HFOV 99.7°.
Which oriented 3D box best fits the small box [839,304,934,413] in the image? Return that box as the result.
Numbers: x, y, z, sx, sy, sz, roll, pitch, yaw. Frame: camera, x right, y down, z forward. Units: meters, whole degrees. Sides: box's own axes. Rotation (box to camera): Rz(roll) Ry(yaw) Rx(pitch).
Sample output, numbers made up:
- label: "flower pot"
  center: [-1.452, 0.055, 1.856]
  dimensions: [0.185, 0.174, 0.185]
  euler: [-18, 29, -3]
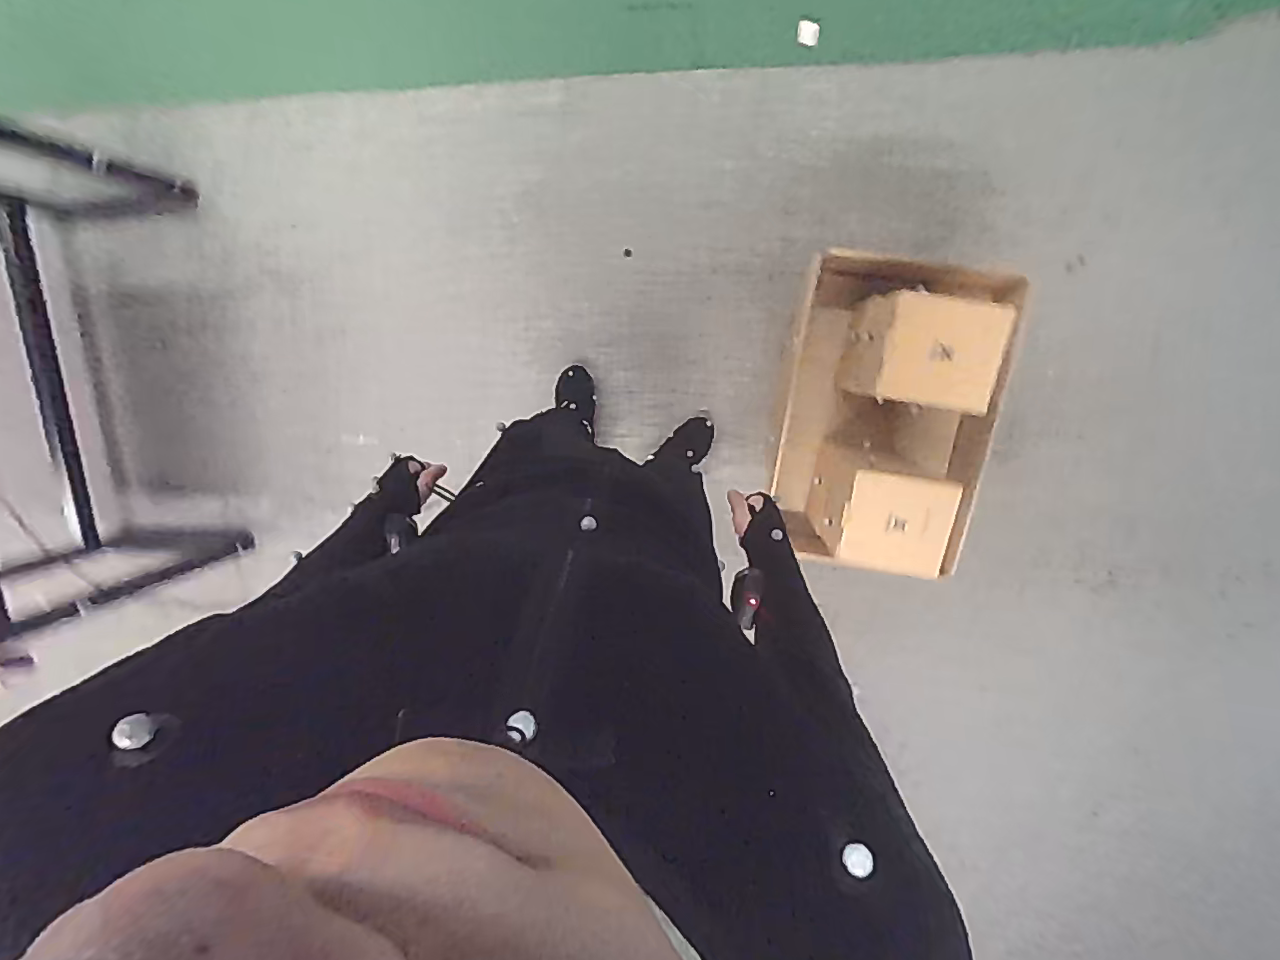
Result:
- label: "small box"
  center: [0.515, -0.241, 1.084]
  dimensions: [0.168, 0.176, 0.179]
  euler: [13, 103, 6]

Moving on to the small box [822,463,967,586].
- label: "small box"
  center: [0.447, 0.070, 0.984]
  dimensions: [0.179, 0.176, 0.168]
  euler: [11, 104, 5]

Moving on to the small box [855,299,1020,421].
- label: "small box"
  center: [0.493, -0.205, 0.926]
  dimensions: [0.179, 0.176, 0.168]
  euler: [12, 103, 7]
